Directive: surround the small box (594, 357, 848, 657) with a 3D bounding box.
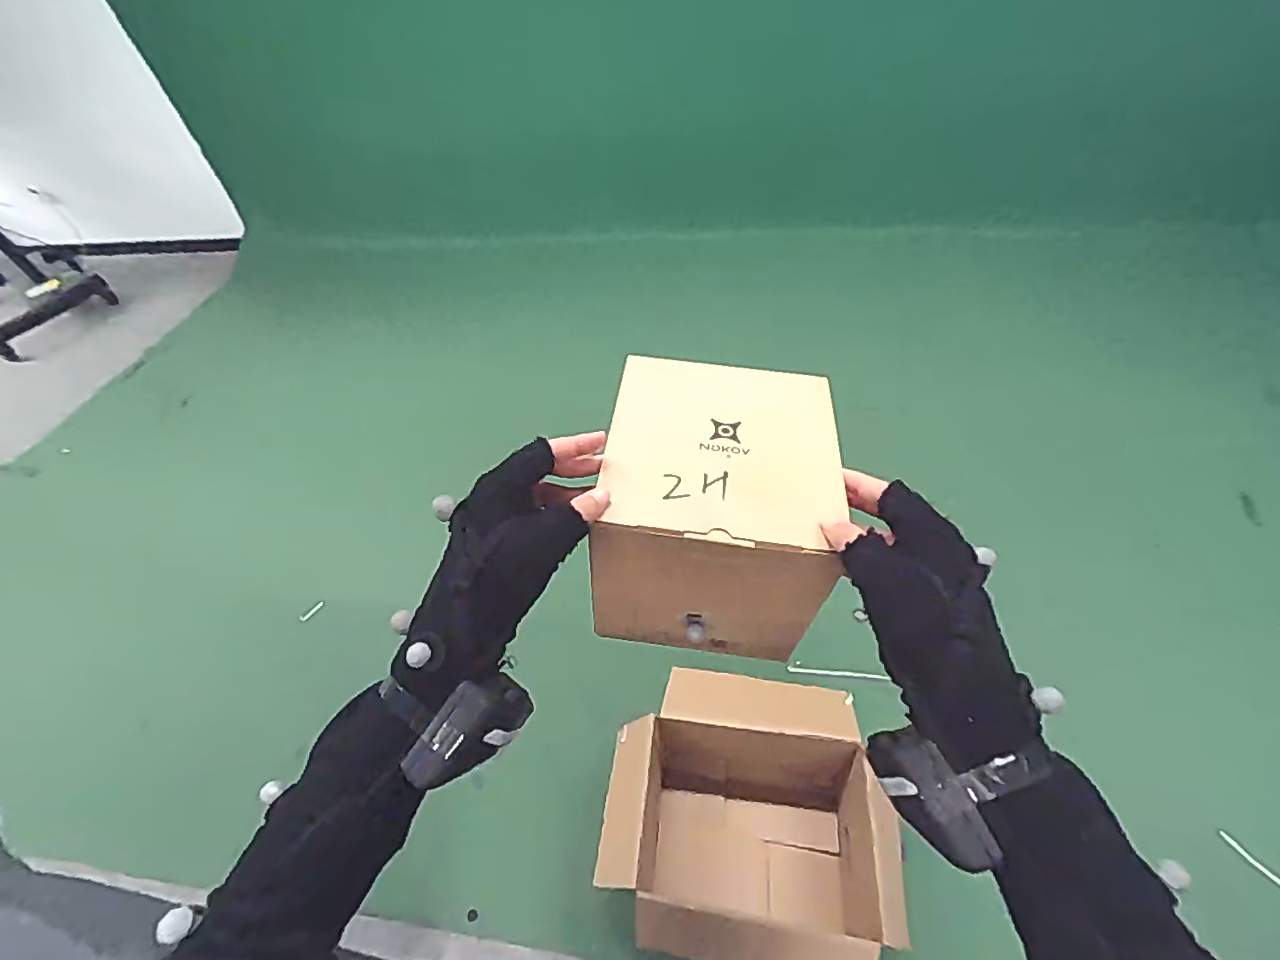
[{"bbox_3d":[0.057,0.023,0.455,0.168,0.176,0.179,7,49,4],"label":"small box"}]
